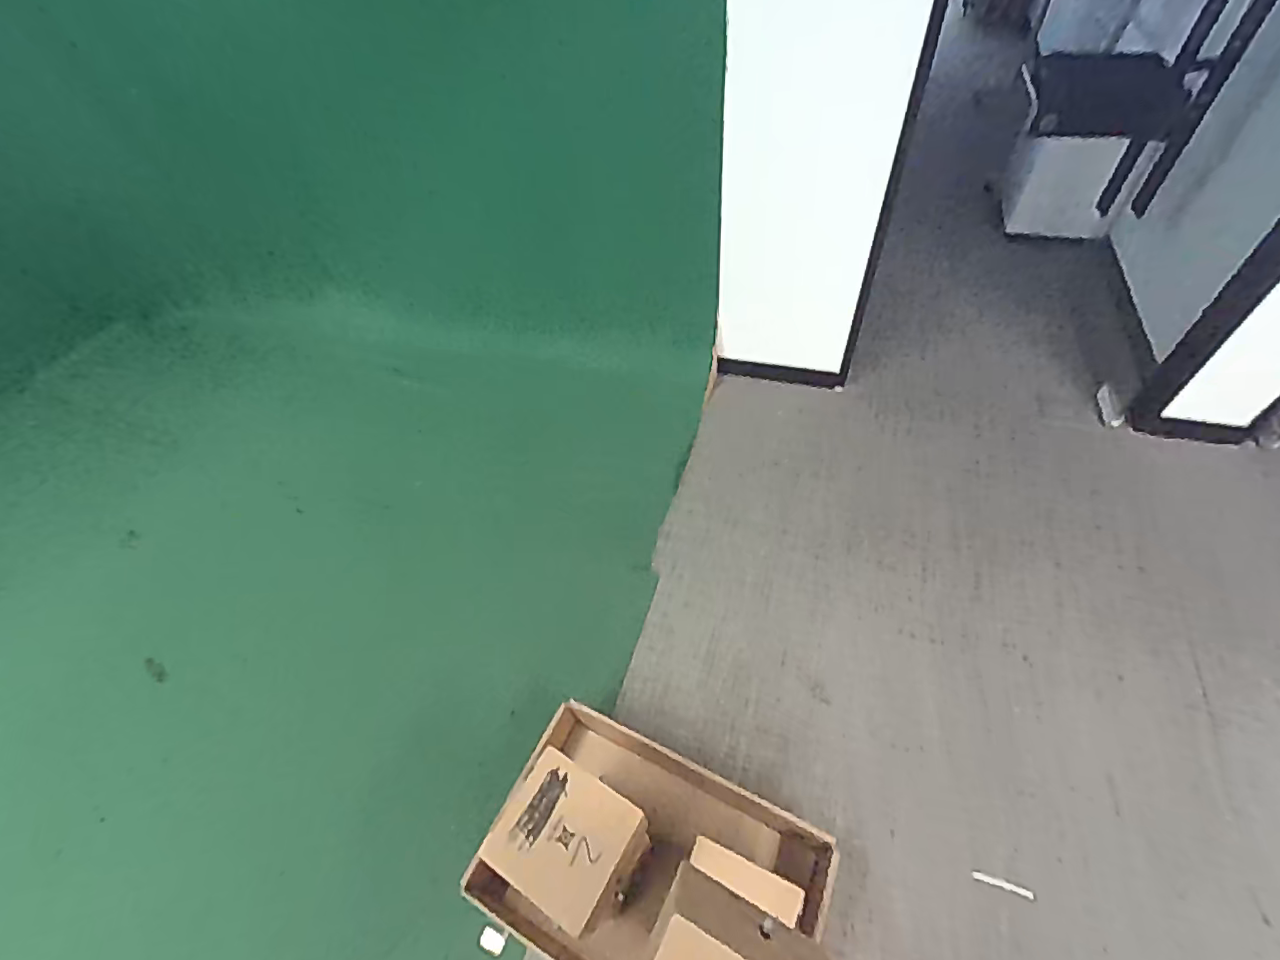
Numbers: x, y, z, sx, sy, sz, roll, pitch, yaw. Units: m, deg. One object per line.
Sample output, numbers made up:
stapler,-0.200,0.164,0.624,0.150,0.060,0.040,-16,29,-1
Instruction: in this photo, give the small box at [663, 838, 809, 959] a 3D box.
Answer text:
small box,0.154,0.709,0.864,0.179,0.176,0.168,16,55,21
